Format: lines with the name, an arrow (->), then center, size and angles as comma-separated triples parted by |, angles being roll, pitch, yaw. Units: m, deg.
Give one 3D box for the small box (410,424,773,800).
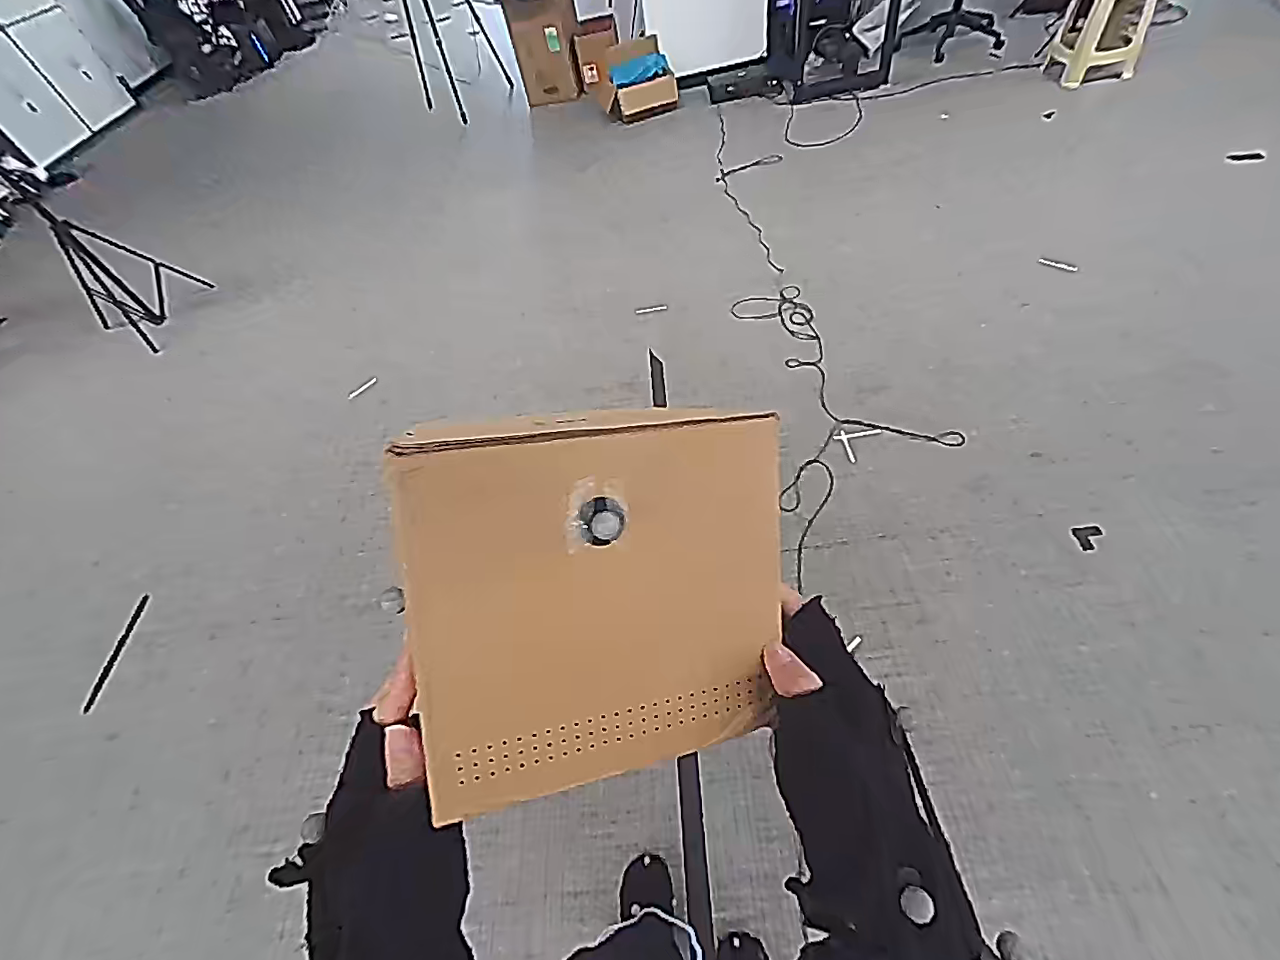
small box -> -0.033, 0.057, 0.336 | 0.179, 0.176, 0.168 | -7, 10, -18
